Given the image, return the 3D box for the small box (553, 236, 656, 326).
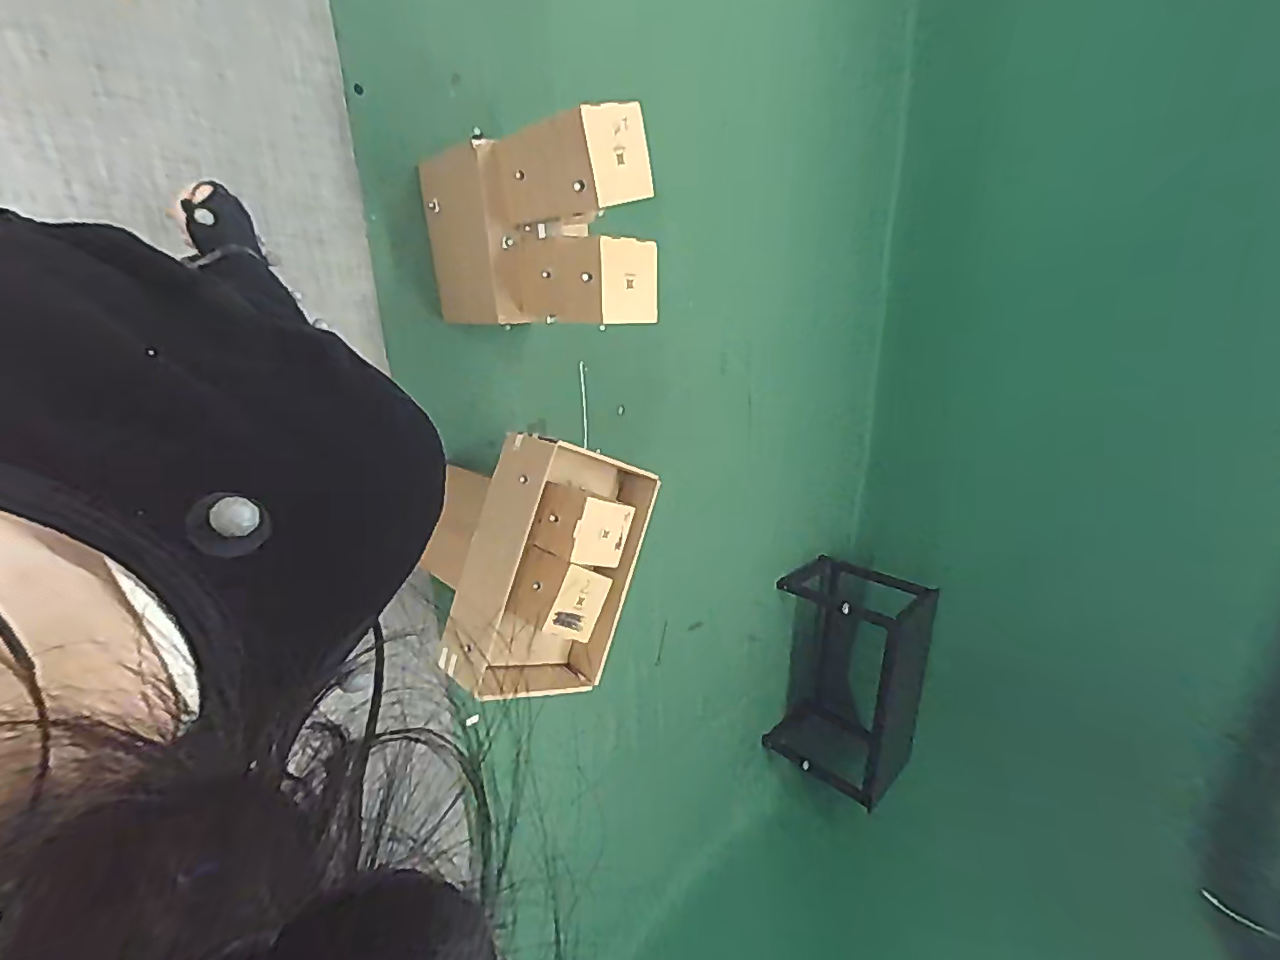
[{"bbox_3d":[-0.081,-0.441,1.221,0.168,0.176,0.179,-16,111,-41],"label":"small box"}]
